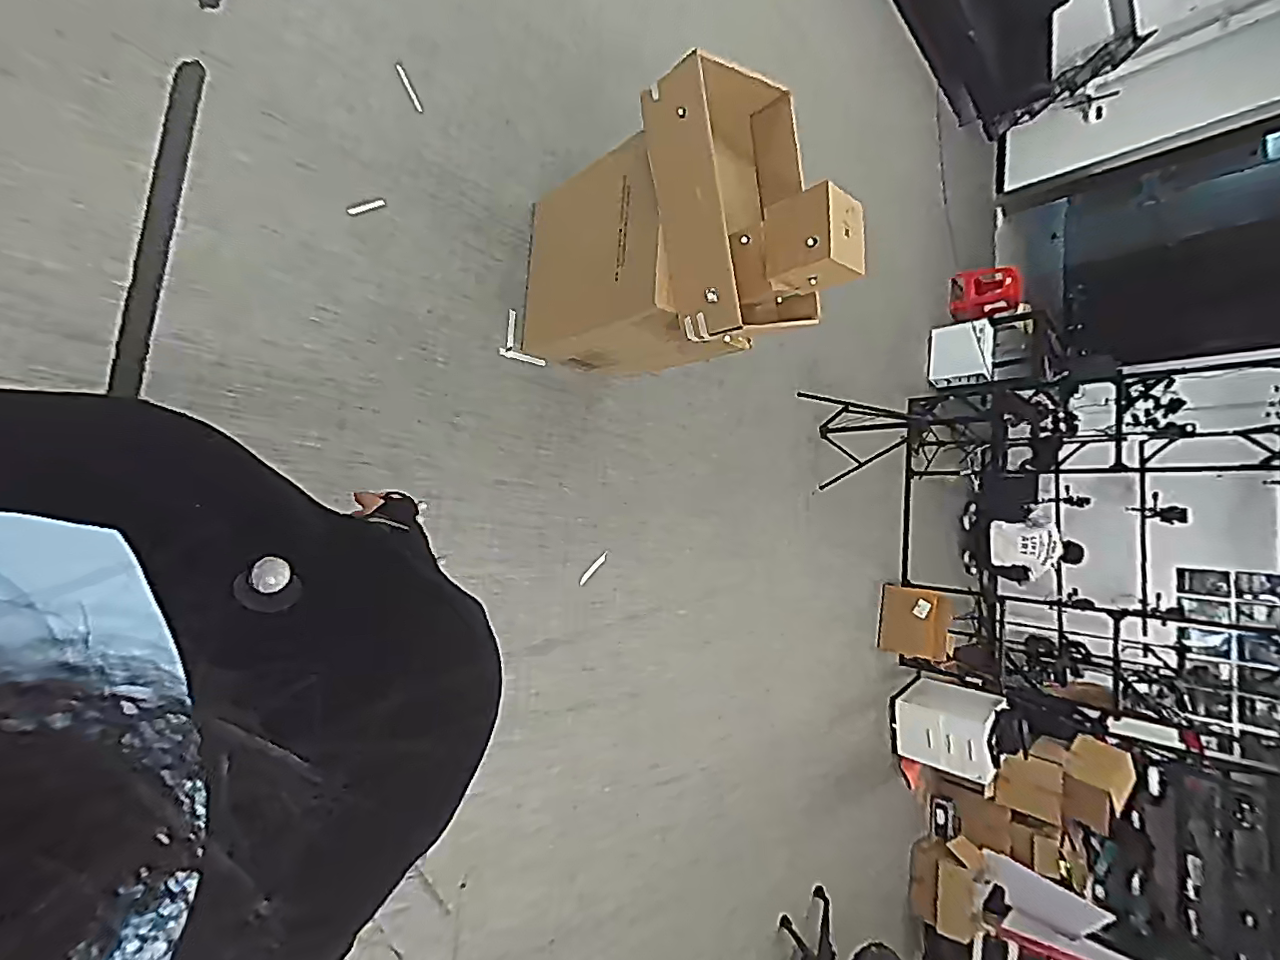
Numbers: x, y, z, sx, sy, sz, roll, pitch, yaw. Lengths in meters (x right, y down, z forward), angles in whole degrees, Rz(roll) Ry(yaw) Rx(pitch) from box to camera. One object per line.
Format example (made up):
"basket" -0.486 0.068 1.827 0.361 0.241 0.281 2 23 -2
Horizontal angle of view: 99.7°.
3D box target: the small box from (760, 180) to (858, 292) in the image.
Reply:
"small box" 0.403 -0.569 1.294 0.168 0.176 0.179 -1 88 -43
